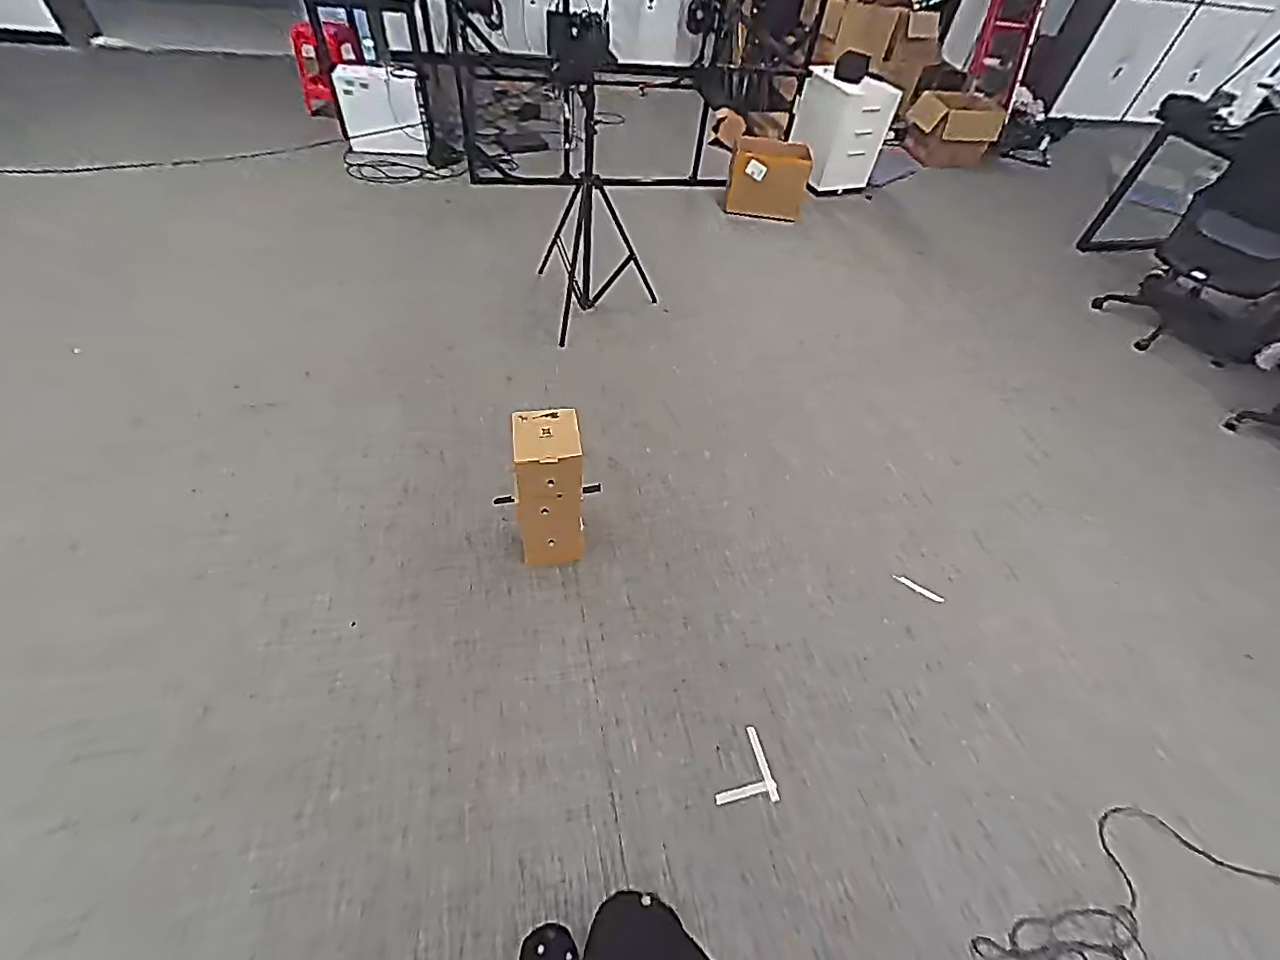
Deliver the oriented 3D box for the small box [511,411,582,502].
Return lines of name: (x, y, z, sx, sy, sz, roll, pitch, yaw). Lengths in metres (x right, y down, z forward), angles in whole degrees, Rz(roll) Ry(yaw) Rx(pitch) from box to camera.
small box: (-0.242, -0.055, 1.412, 0.168, 0.176, 0.179, -5, 52, -10)

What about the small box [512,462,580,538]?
small box: (-0.265, 0.052, 1.534, 0.179, 0.176, 0.168, -4, 52, -10)

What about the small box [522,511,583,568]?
small box: (-0.274, 0.153, 1.664, 0.179, 0.176, 0.168, -6, 52, -12)
